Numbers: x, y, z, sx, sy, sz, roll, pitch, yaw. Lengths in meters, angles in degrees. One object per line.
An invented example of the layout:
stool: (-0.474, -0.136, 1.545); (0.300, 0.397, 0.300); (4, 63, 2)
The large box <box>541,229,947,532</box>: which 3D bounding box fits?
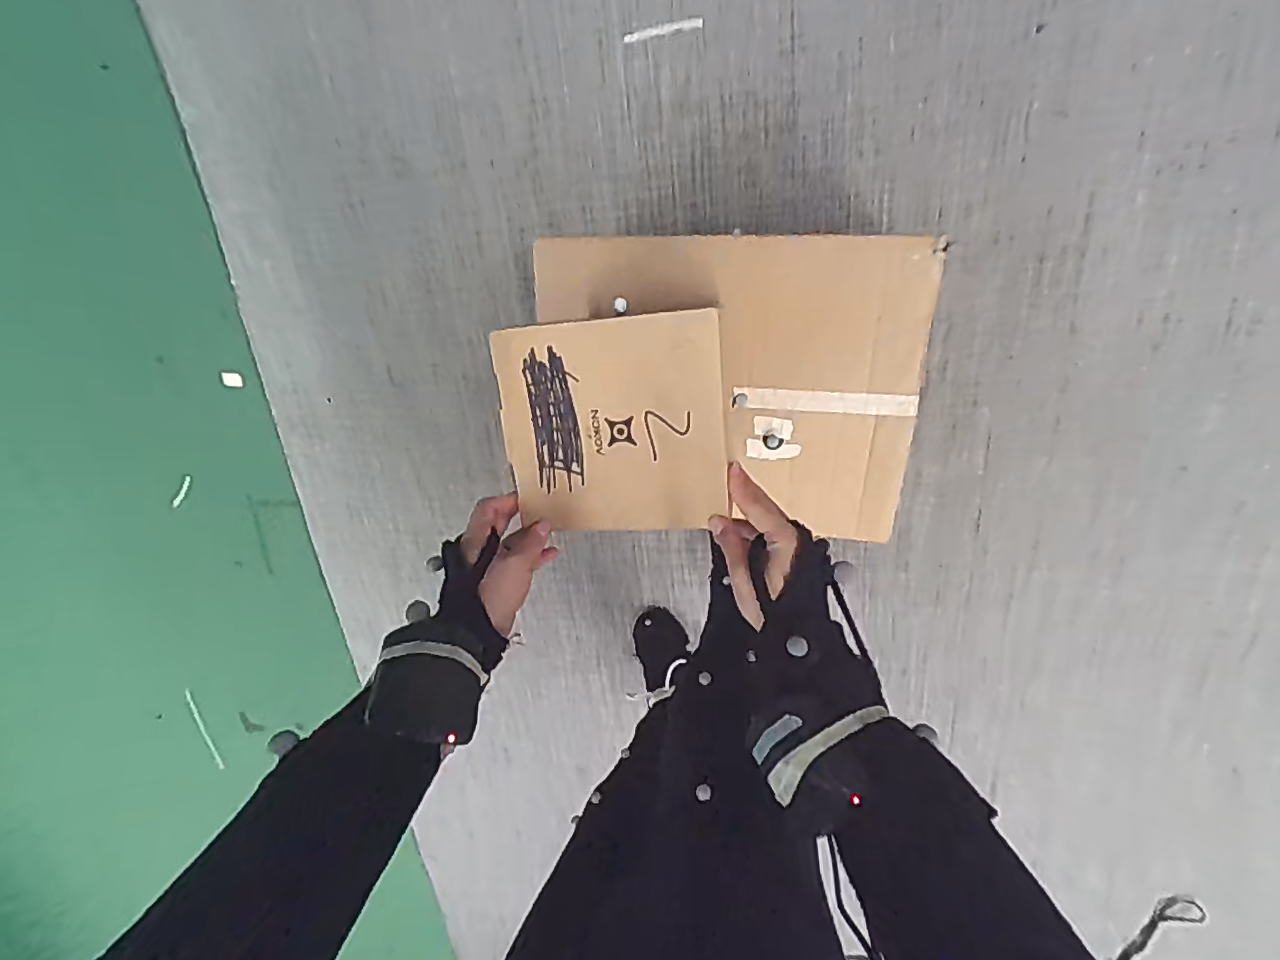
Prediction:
large box: (0.119, -0.148, 0.720); (0.408, 0.320, 0.320); (5, 112, 12)
